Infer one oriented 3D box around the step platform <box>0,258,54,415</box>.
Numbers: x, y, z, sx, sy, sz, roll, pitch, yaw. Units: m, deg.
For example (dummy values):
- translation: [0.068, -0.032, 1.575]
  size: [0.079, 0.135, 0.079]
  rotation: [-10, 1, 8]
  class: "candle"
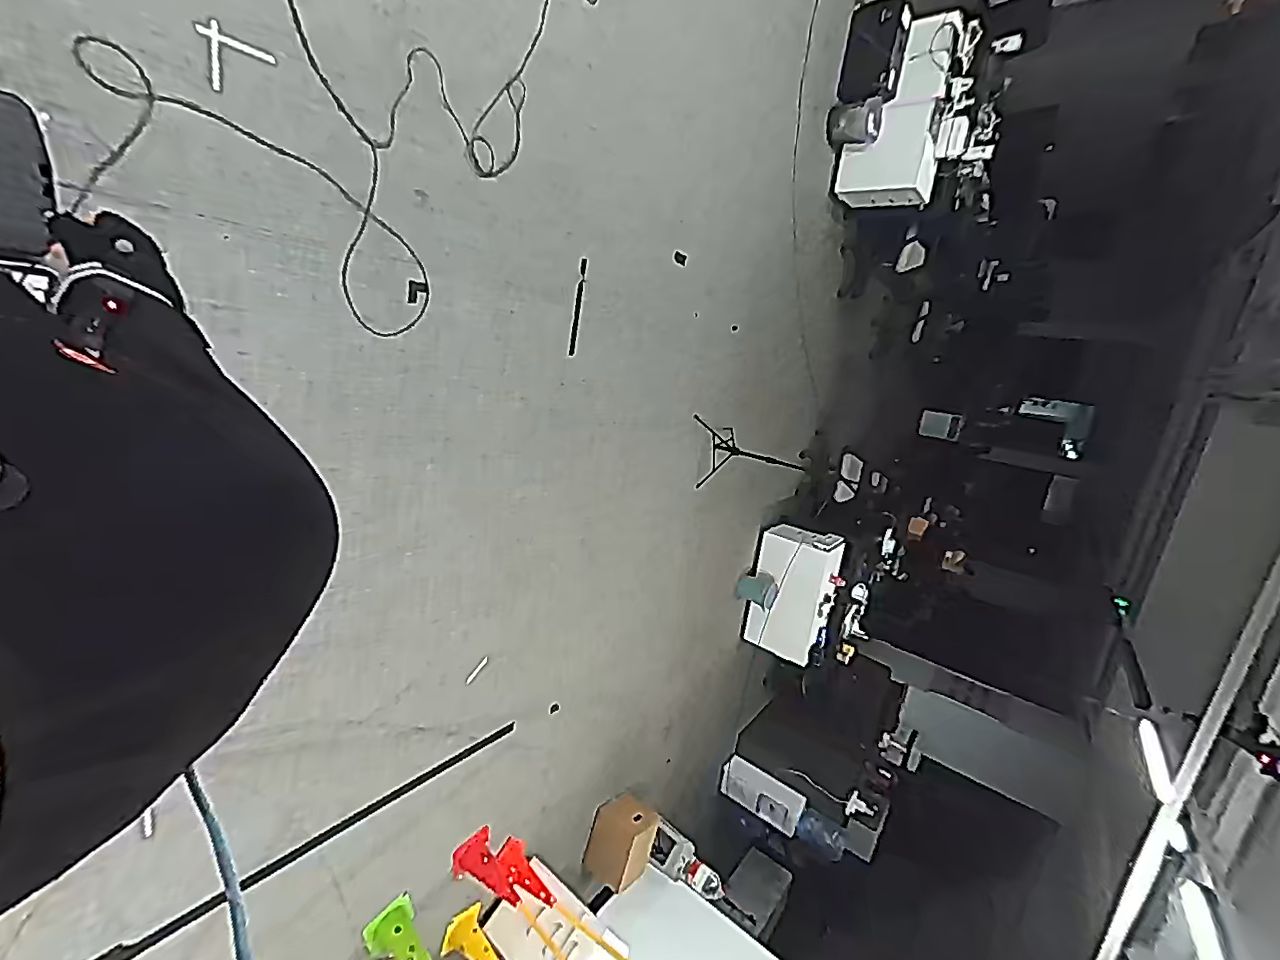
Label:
- translation: [-1.382, -0.240, 0.809]
  size: [0.684, 0.204, 0.286]
  rotation: [-11, 113, -51]
  class: "step platform"
